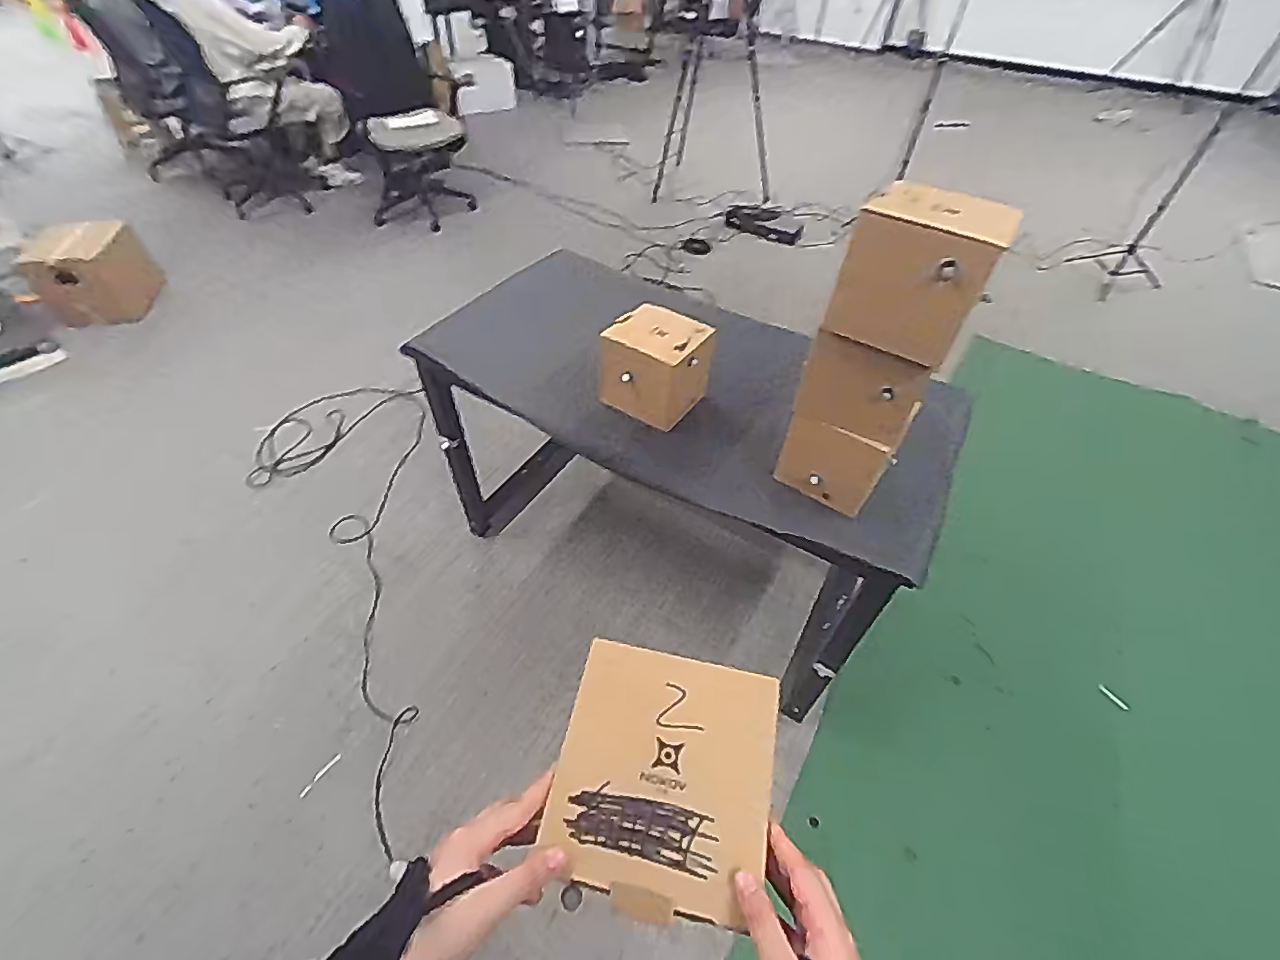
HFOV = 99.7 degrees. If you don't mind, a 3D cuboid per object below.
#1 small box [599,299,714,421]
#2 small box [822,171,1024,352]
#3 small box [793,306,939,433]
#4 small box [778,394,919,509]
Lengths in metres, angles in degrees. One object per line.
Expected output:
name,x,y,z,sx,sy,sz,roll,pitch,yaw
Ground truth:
small box,0.031,-0.248,1.129,0.179,0.176,0.168,27,51,22
small box,0.379,-0.297,0.742,0.179,0.176,0.168,28,49,22
small box,0.371,-0.200,0.878,0.179,0.176,0.168,23,47,19
small box,0.372,-0.083,0.990,0.168,0.176,0.179,30,52,24
